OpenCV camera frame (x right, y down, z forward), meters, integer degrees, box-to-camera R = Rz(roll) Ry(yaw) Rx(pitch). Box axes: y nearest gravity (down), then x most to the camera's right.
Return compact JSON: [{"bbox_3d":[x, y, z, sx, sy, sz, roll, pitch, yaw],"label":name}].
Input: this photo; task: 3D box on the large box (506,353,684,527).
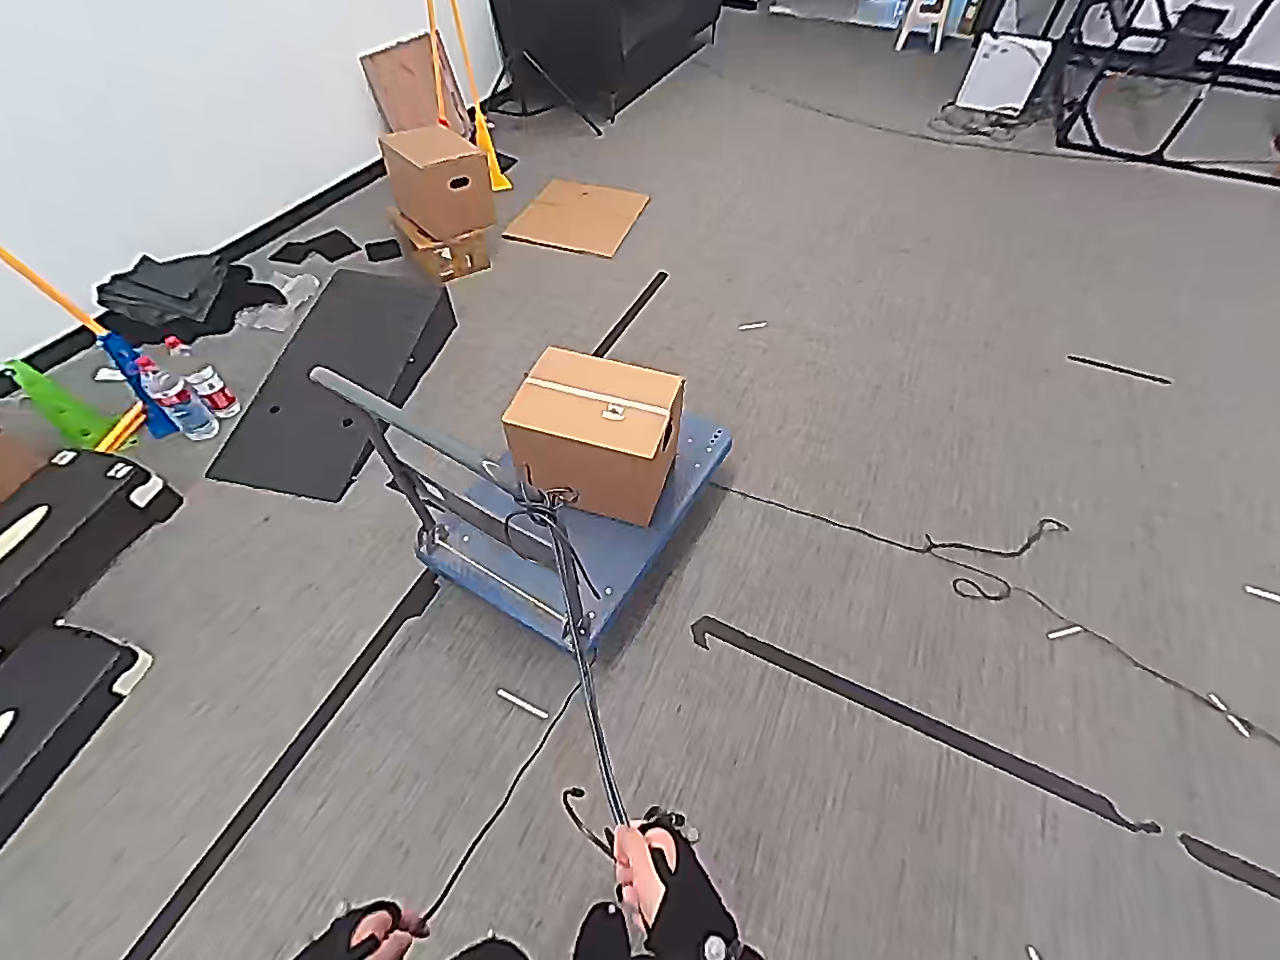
[{"bbox_3d":[-0.118,-0.113,1.539,0.408,0.320,0.320,15,54,8],"label":"large box"}]
